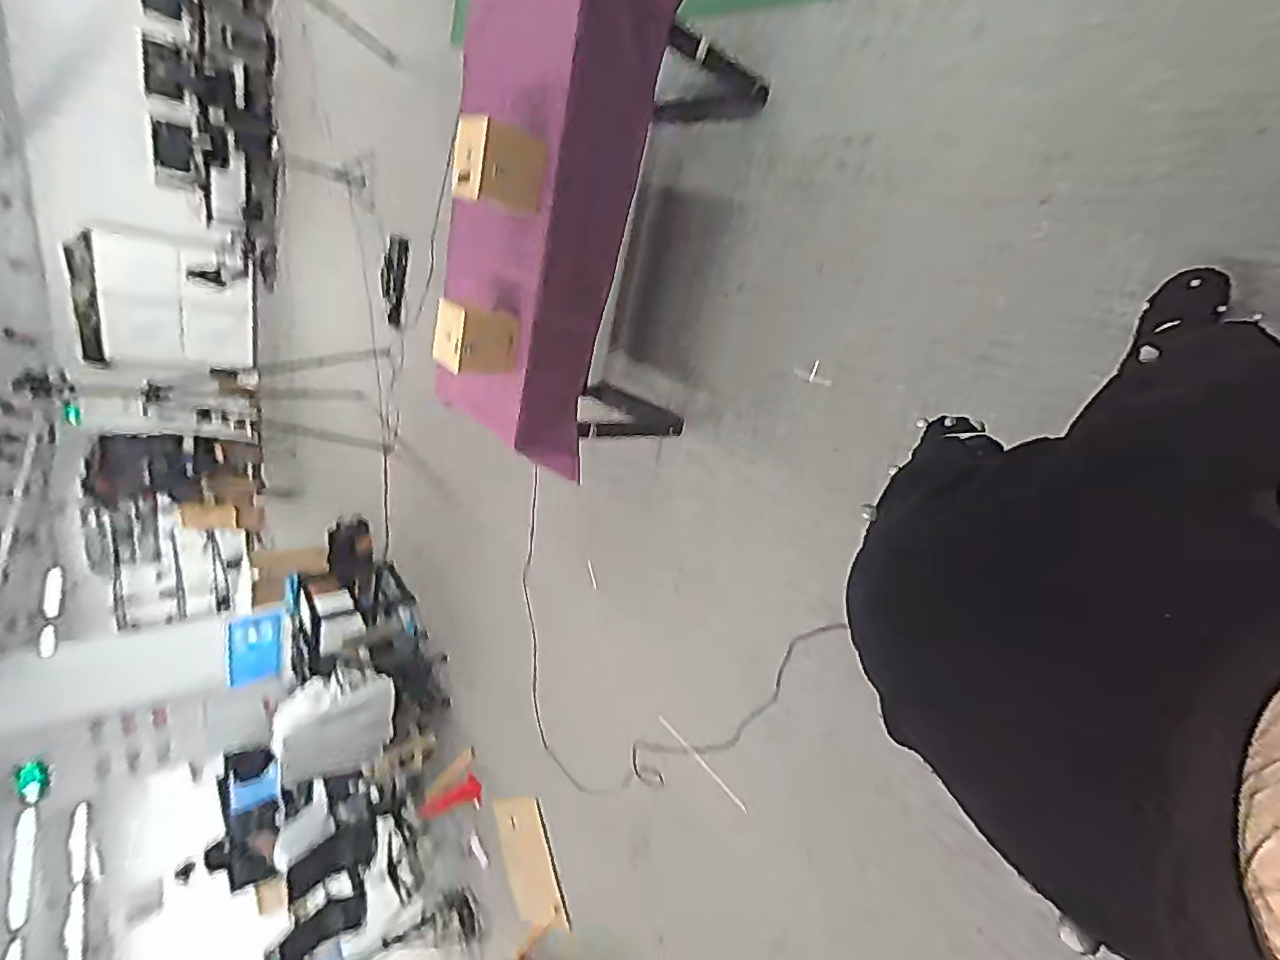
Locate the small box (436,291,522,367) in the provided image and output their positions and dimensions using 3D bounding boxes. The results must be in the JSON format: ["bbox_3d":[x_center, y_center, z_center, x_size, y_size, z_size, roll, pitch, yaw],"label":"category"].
[{"bbox_3d":[-0.461,-0.428,1.546,0.179,0.176,0.168,36,119,41],"label":"small box"}]

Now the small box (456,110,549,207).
[{"bbox_3d":[-0.352,-0.820,1.388,0.168,0.176,0.179,34,117,40],"label":"small box"}]
